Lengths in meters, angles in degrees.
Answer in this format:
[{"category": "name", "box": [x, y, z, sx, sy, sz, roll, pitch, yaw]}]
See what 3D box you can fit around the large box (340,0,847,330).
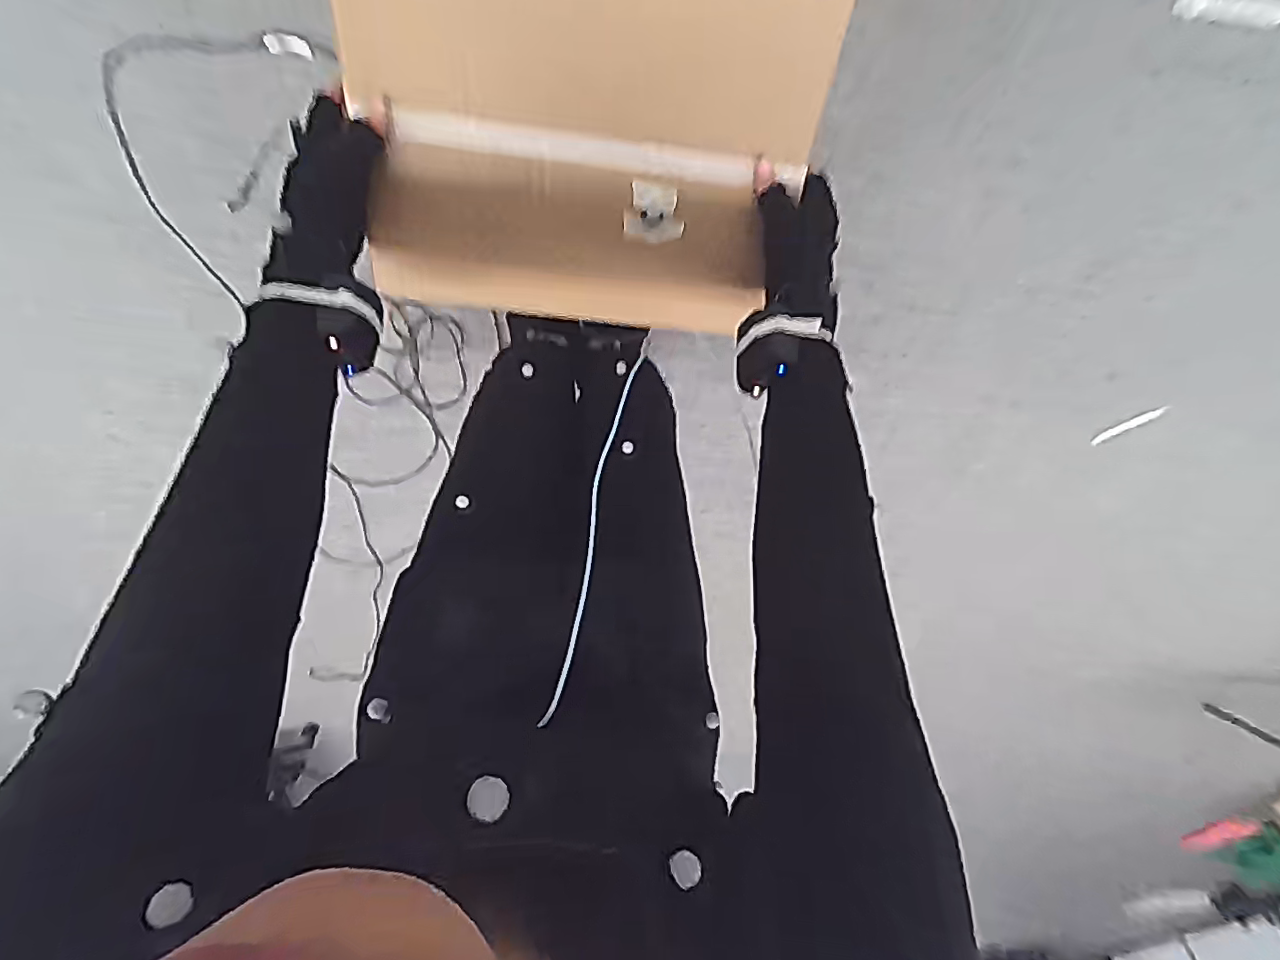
[{"category": "large box", "box": [-0.055, -0.387, 0.604, 0.408, 0.320, 0.320, 4, 128, -7]}]
